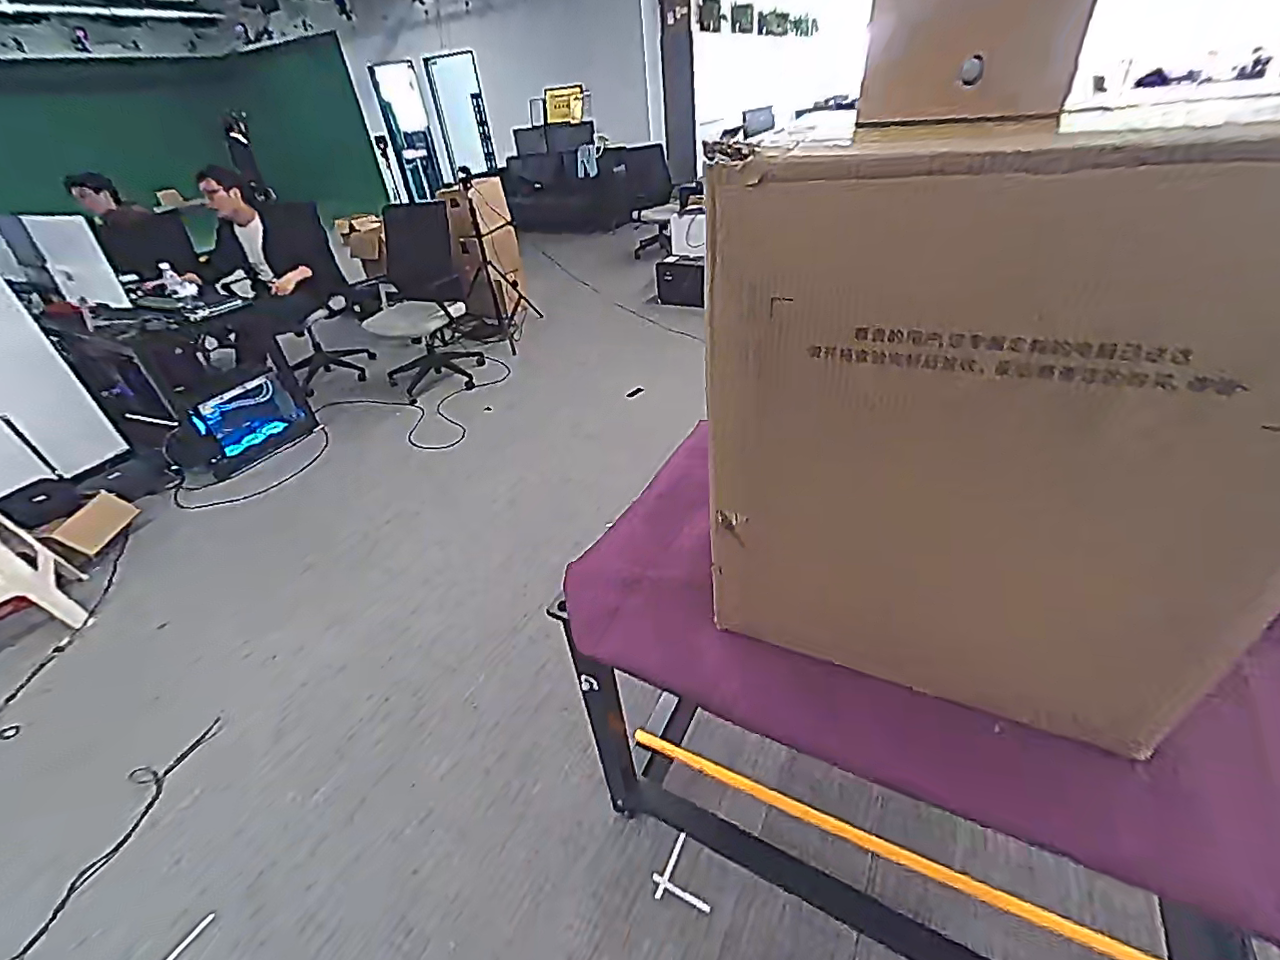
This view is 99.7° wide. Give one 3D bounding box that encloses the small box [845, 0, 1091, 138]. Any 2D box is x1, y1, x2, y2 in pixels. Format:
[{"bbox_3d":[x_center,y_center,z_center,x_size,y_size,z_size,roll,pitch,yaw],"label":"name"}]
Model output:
[{"bbox_3d":[0.312,-0.435,0.511,0.179,0.176,0.168,15,42,26],"label":"small box"}]
